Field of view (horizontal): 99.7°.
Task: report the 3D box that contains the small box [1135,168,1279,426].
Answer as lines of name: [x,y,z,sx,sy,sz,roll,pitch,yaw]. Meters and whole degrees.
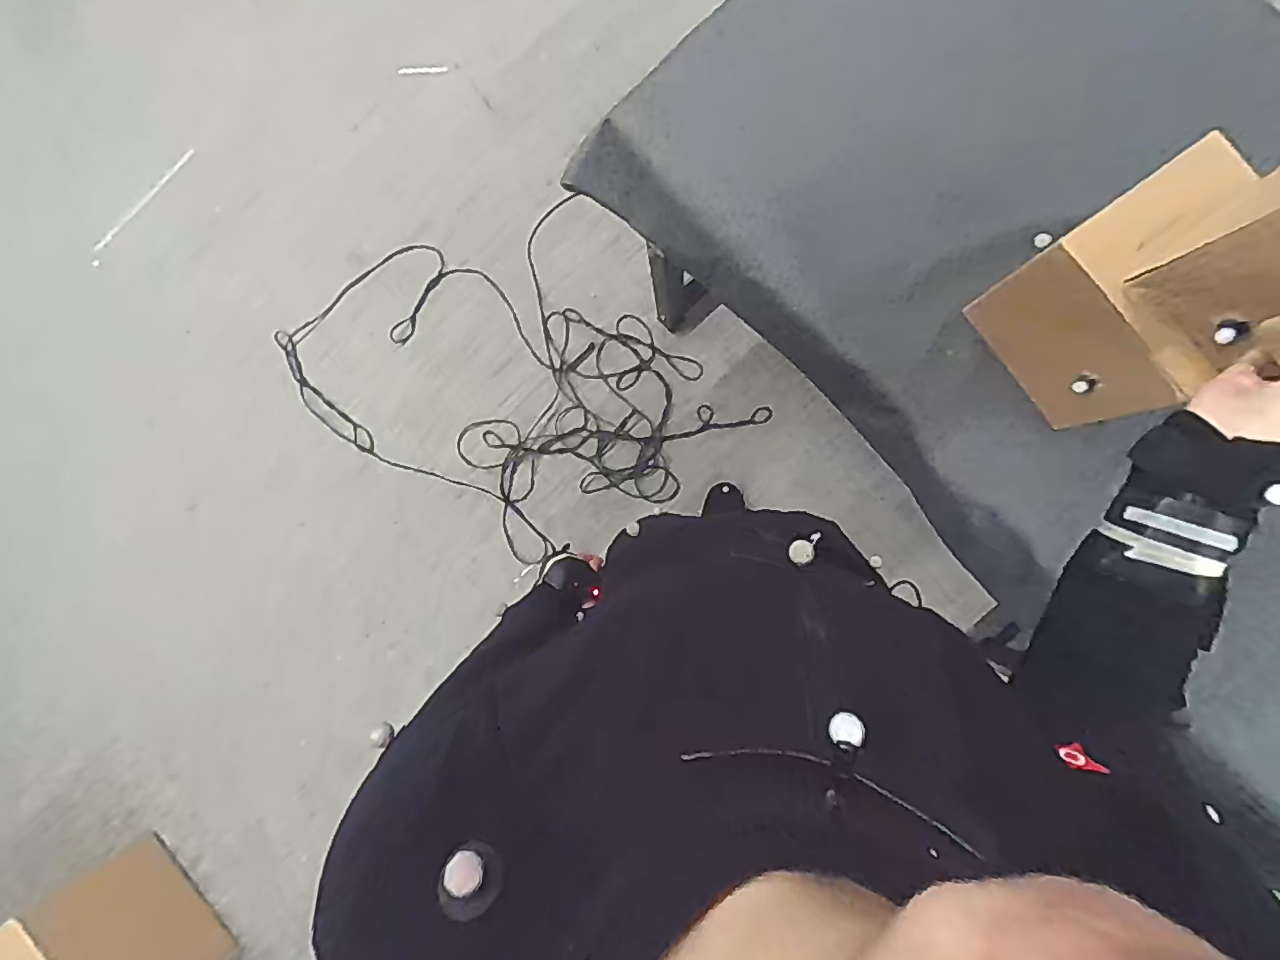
small box: [0.513,-0.153,0.362,0.179,0.176,0.168,-38,86,8]

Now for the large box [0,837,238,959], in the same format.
large box: [-1.297,1.187,1.287,0.320,0.320,0.408,-43,83,1]

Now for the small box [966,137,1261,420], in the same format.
small box: [0.480,-0.176,0.538,0.168,0.176,0.179,-36,84,1]
